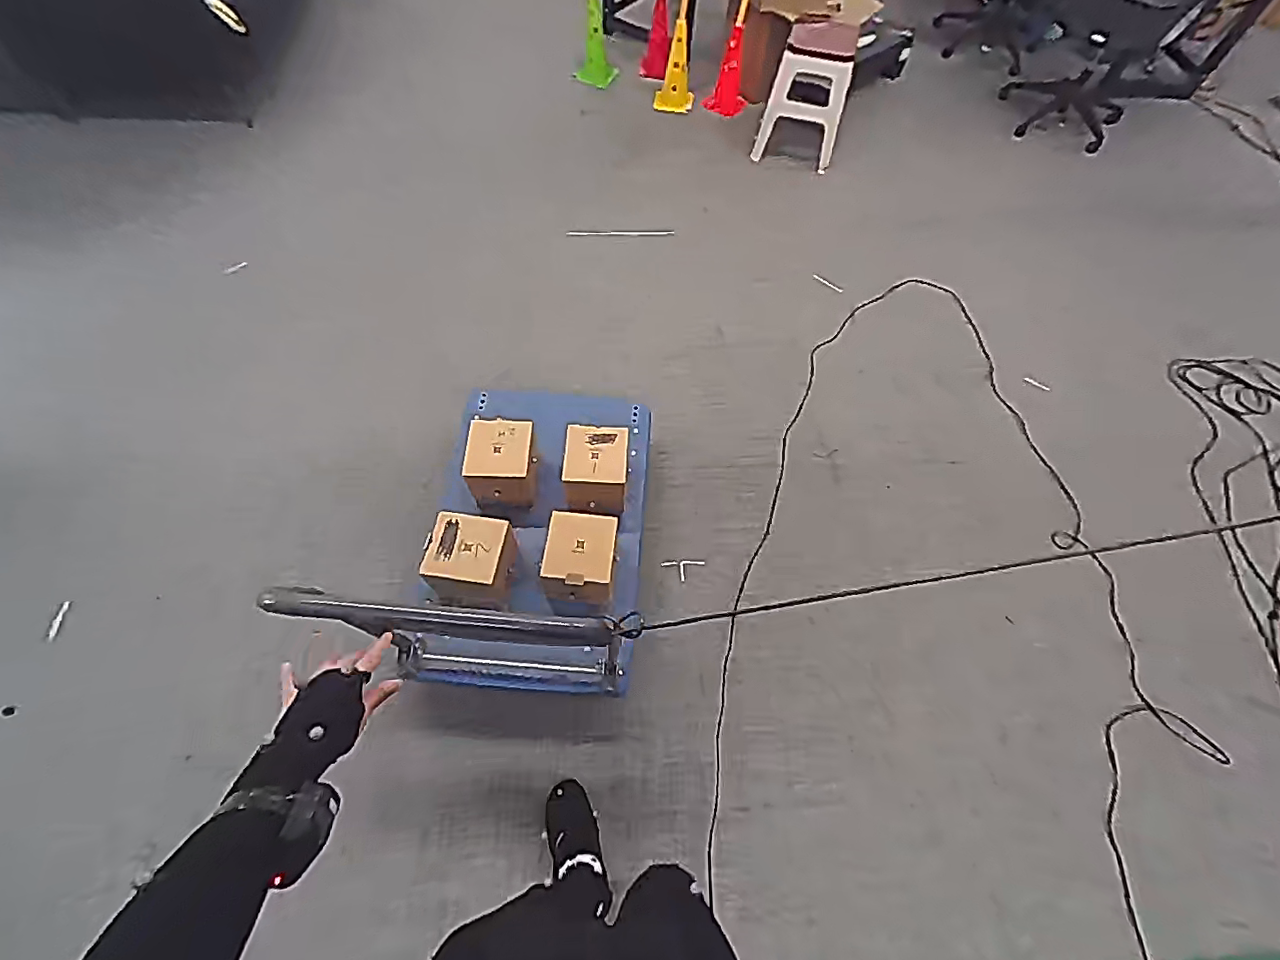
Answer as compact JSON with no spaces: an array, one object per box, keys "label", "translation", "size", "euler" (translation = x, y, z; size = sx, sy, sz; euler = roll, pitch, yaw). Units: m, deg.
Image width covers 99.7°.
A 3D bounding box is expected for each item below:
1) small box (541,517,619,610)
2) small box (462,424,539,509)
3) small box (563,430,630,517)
[{"label":"small box","translation":[-0.146,0.212,1.359],"size":[0.168,0.176,0.179],"euler":[6,62,1]},{"label":"small box","translation":[-0.372,-0.032,1.479],"size":[0.168,0.176,0.179],"euler":[2,61,-2]},{"label":"small box","translation":[-0.115,-0.017,1.483],"size":[0.168,0.176,0.179],"euler":[3,62,0]}]
